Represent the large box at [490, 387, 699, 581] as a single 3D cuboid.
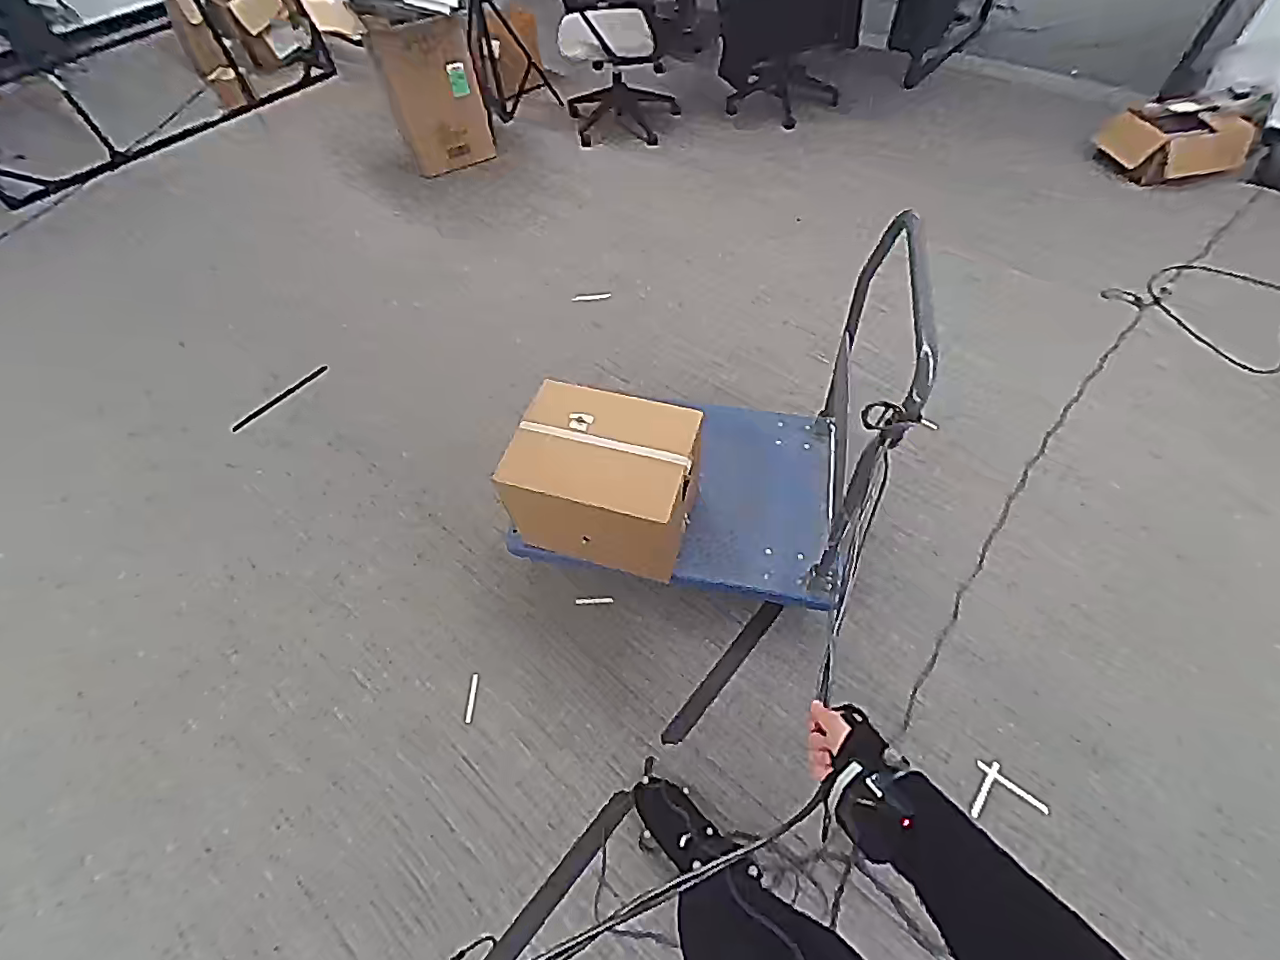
[{"bbox_3d":[-0.083,0.014,1.328,0.408,0.320,0.320,12,57,12],"label":"large box"}]
